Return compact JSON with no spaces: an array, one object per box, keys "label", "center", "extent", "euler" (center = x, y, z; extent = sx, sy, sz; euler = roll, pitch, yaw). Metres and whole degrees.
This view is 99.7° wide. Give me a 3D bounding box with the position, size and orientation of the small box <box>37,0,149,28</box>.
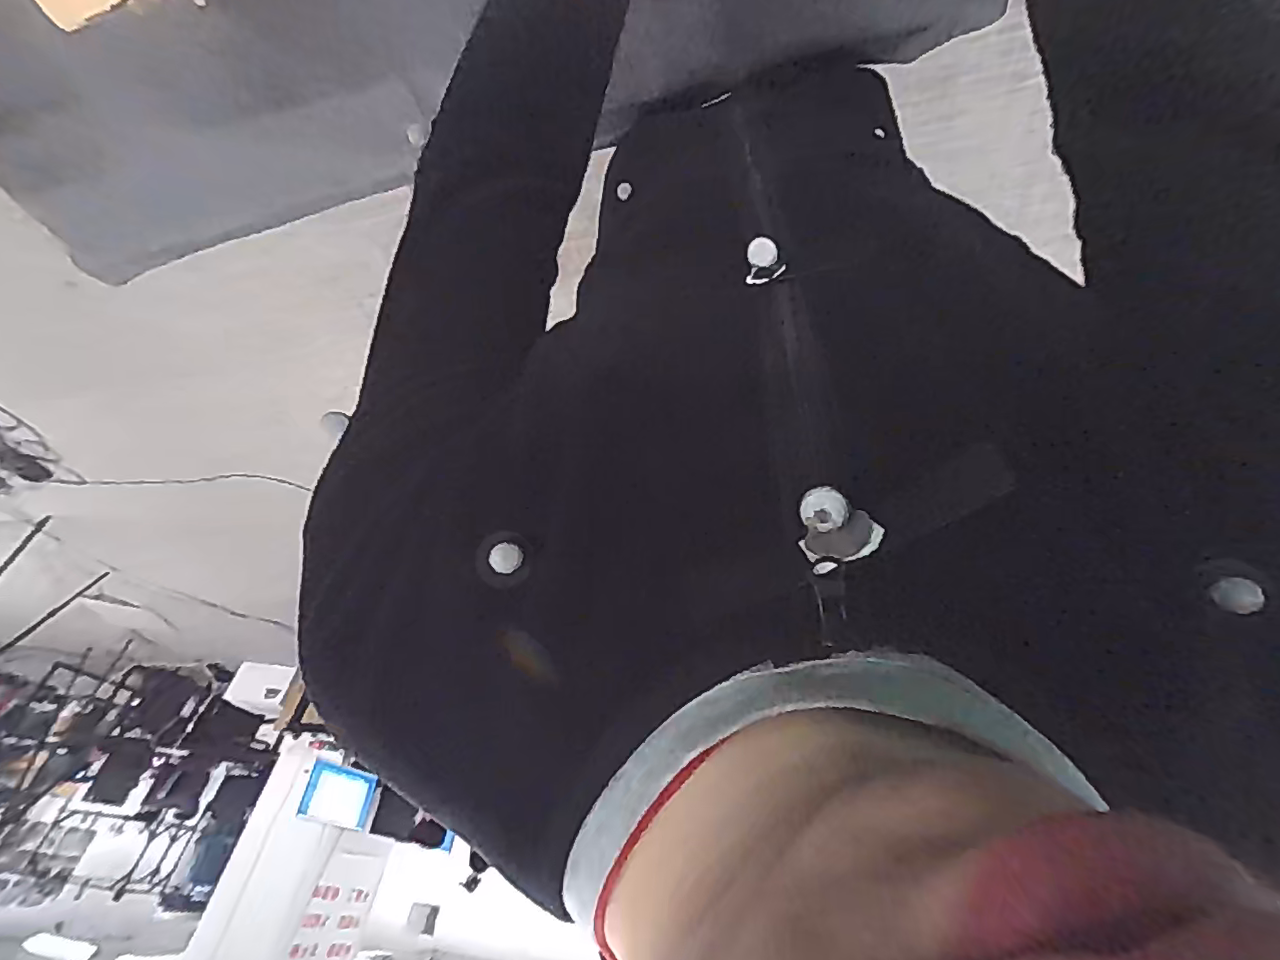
[{"label":"small box","center":[-0.416,-0.498,0.416],"extent":[0.168,0.176,0.179],"euler":[-4,140,15]}]
